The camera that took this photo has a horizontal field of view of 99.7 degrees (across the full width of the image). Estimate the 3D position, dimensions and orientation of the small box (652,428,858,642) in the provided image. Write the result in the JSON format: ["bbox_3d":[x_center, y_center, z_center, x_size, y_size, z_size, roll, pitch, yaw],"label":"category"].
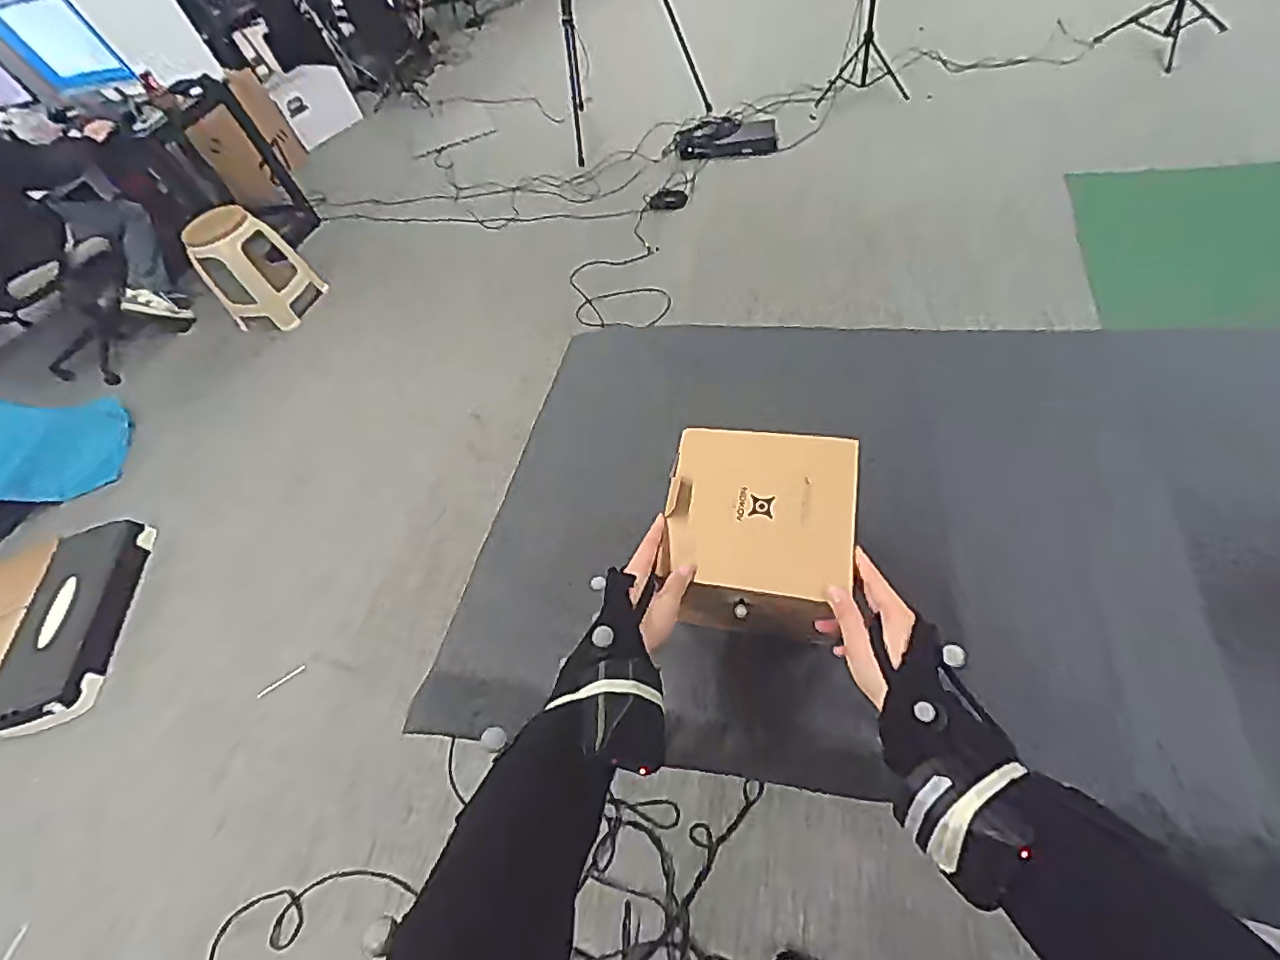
[{"bbox_3d":[0.125,0.063,0.574,0.179,0.176,0.168,6,63,15],"label":"small box"}]
